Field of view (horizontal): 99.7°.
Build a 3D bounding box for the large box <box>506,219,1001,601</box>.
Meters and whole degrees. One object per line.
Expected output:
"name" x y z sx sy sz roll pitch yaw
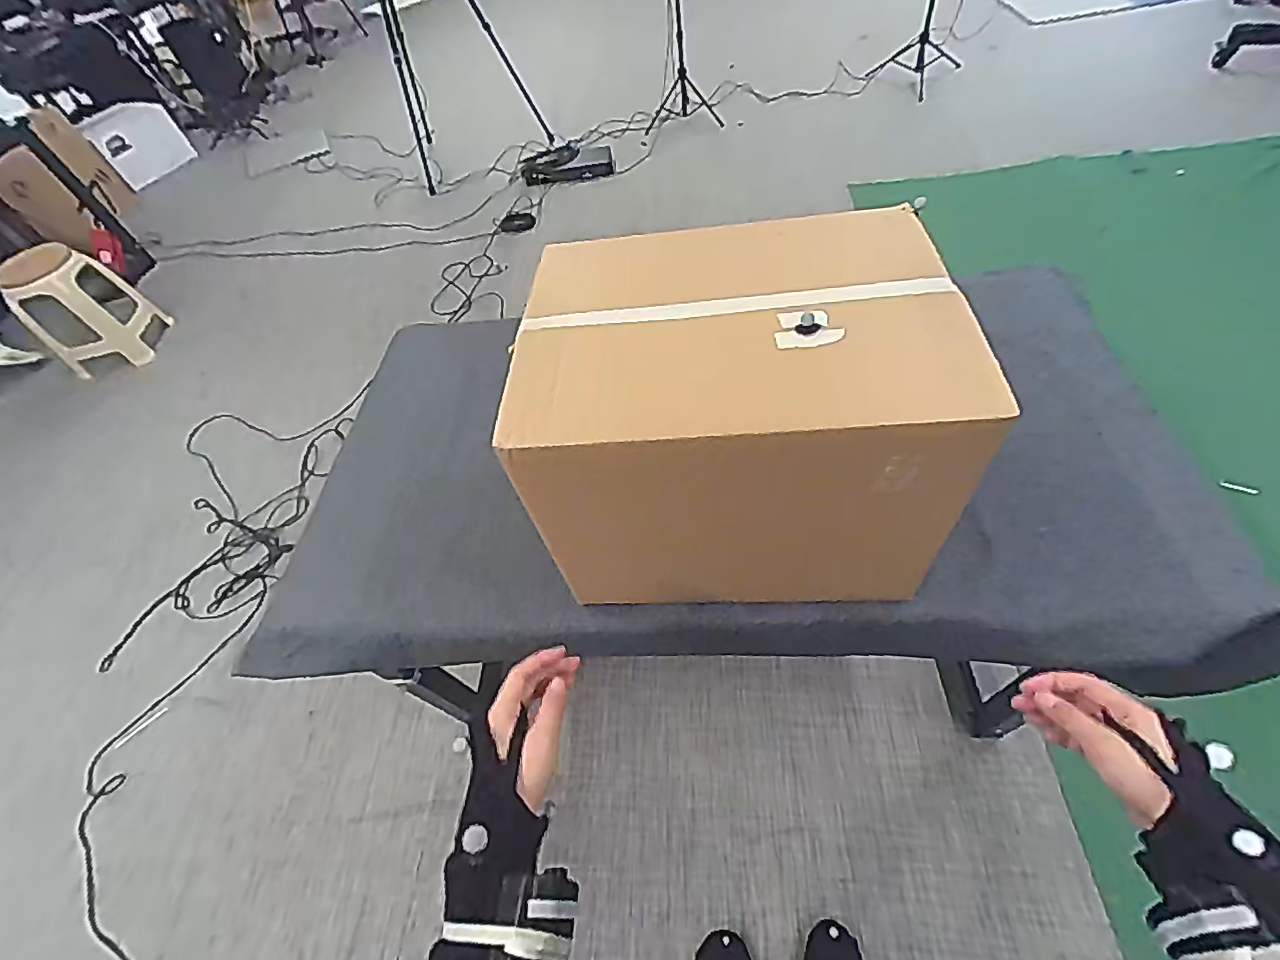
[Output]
"large box" 0.102 -0.066 0.640 0.408 0.320 0.320 -3 52 7
